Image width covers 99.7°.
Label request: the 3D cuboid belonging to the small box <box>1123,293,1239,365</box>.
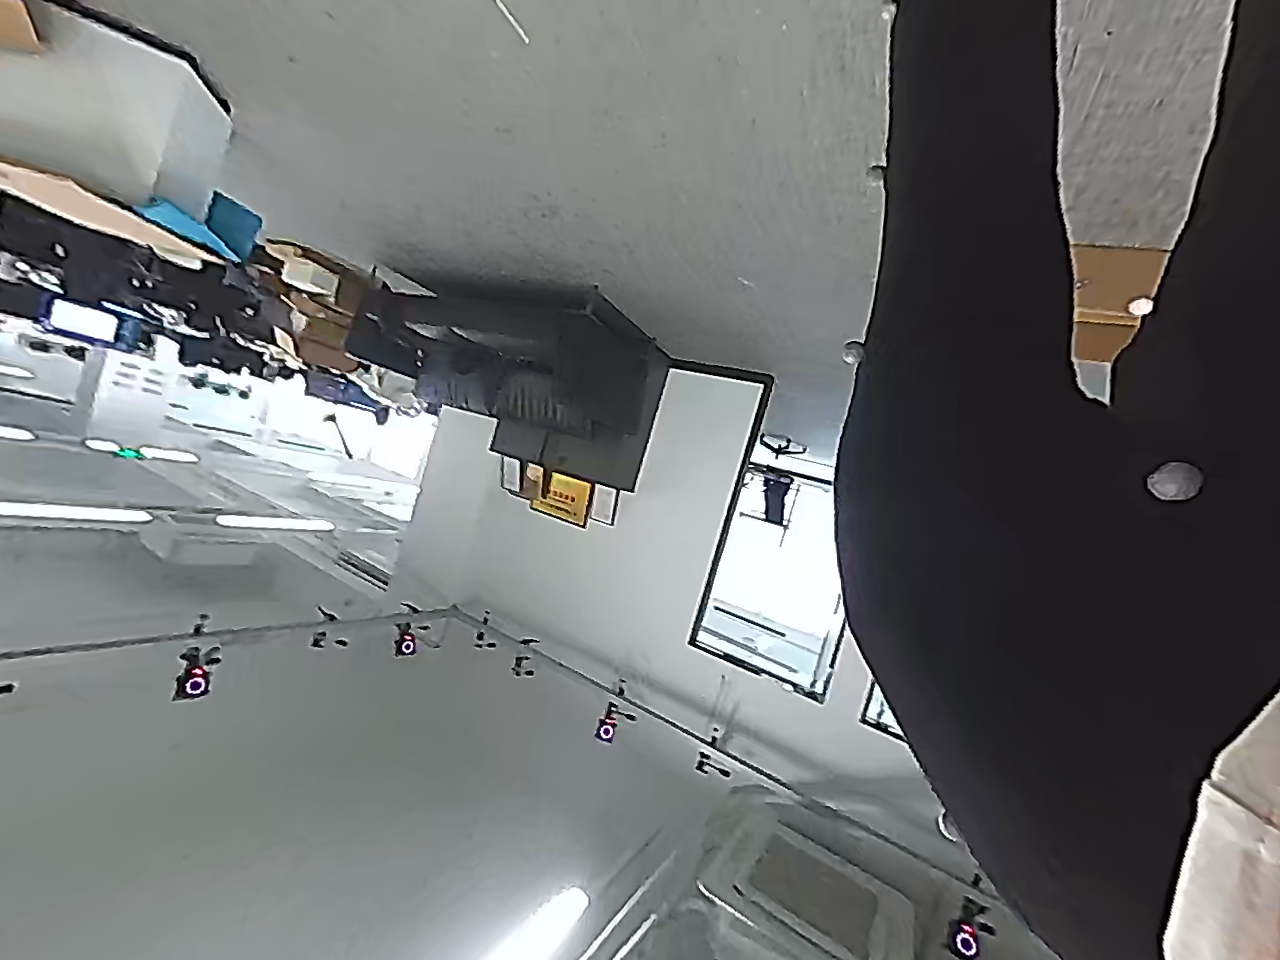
[{"bbox_3d":[1.574,-0.419,1.576,0.168,0.176,0.179,21,180,22],"label":"small box"}]
